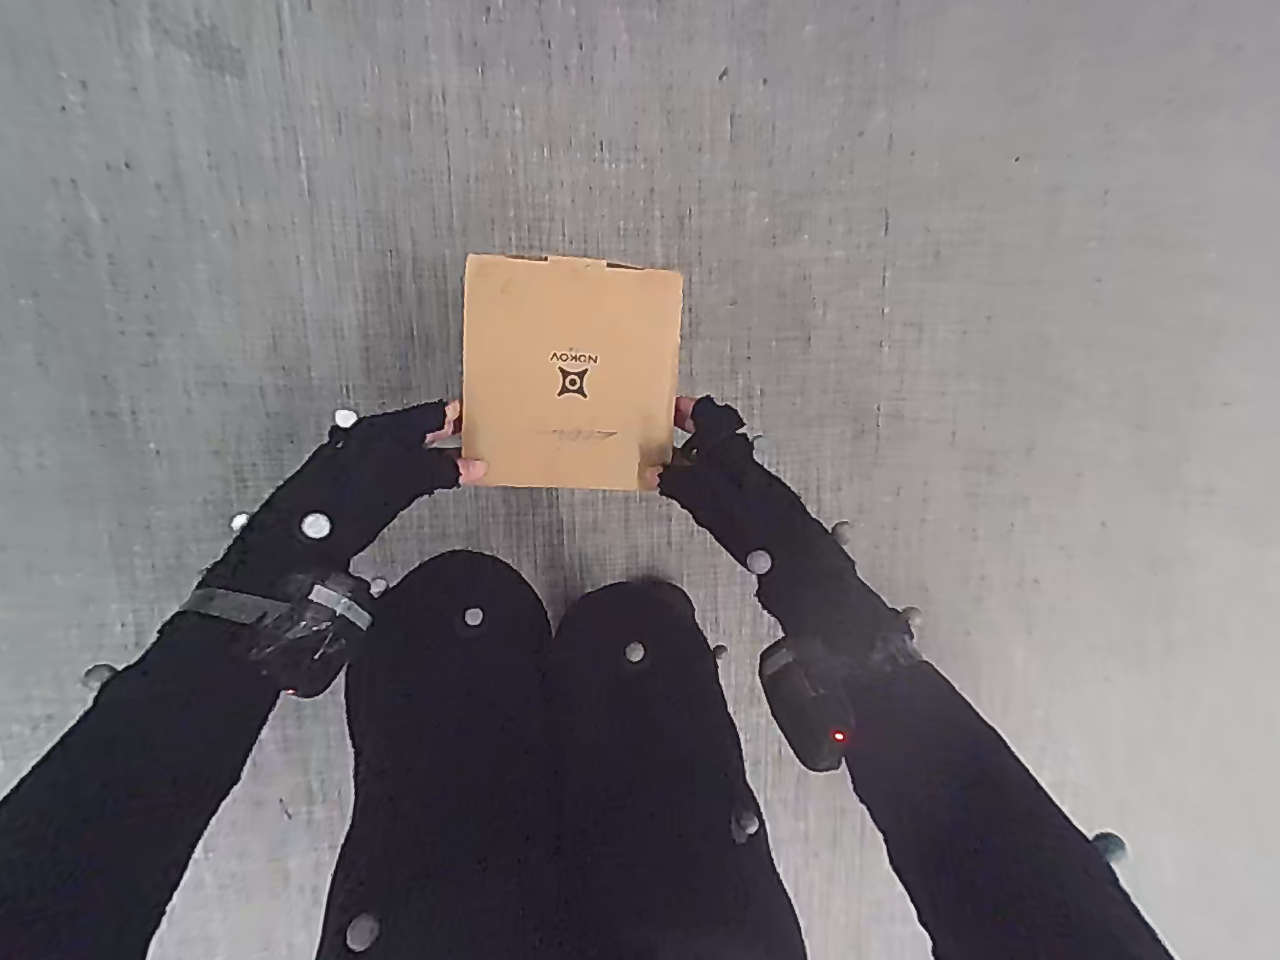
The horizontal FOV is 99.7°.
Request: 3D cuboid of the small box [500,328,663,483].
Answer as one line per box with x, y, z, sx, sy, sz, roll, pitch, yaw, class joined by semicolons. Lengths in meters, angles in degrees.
-0.074;-0.089;0.665;0.179;0.176;0.168;0;97;-8;small box
